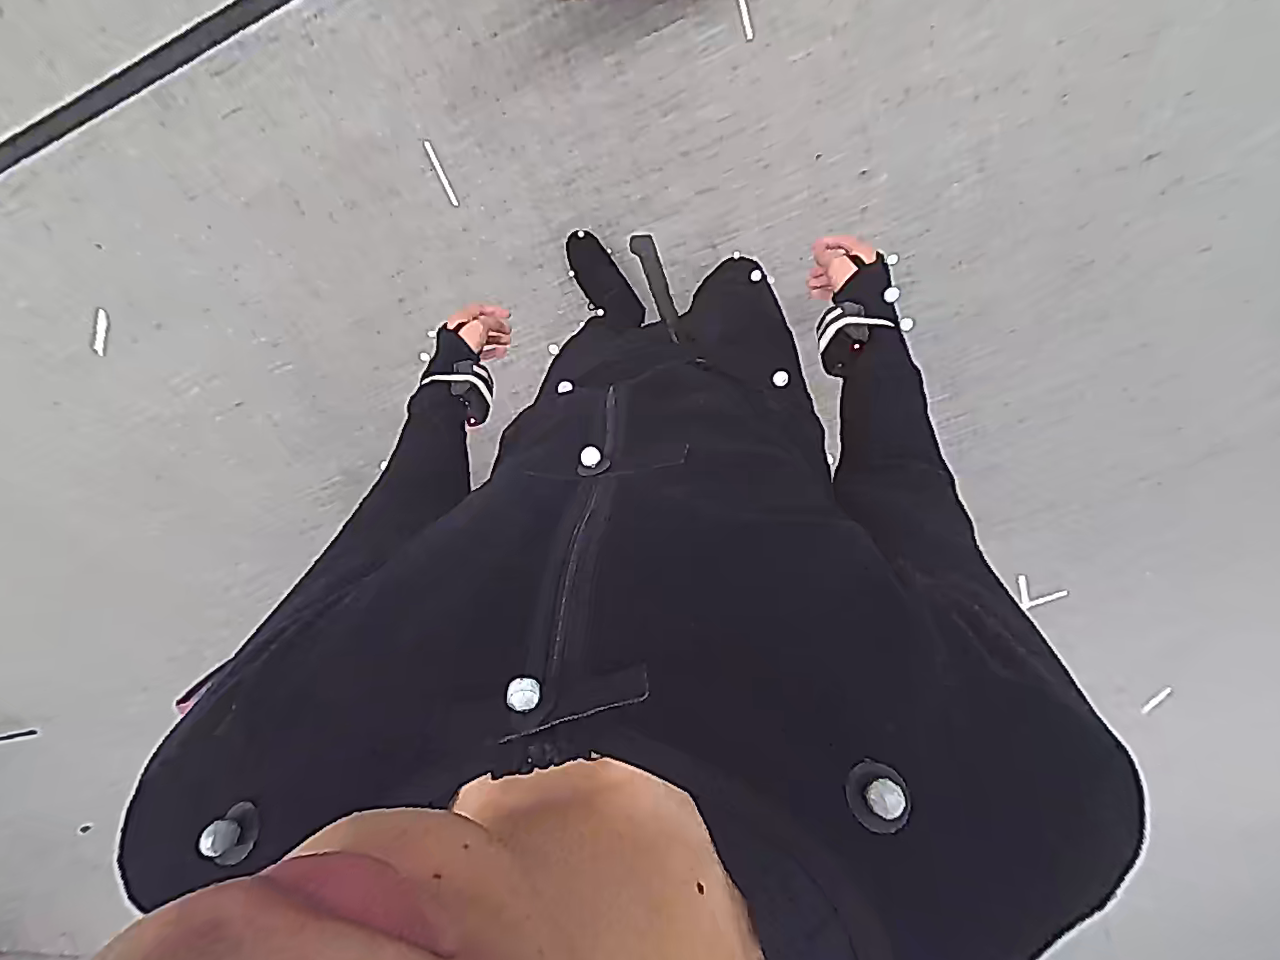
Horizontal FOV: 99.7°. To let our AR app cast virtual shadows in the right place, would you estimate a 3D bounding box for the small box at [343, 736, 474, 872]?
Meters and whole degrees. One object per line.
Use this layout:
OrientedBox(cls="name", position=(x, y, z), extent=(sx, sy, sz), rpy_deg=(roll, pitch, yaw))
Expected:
OrientedBox(cls="small box", position=(-0.481, 0.688, 1.159), extent=(0.179, 0.176, 0.168), rpy_deg=(-32, 111, 15))
